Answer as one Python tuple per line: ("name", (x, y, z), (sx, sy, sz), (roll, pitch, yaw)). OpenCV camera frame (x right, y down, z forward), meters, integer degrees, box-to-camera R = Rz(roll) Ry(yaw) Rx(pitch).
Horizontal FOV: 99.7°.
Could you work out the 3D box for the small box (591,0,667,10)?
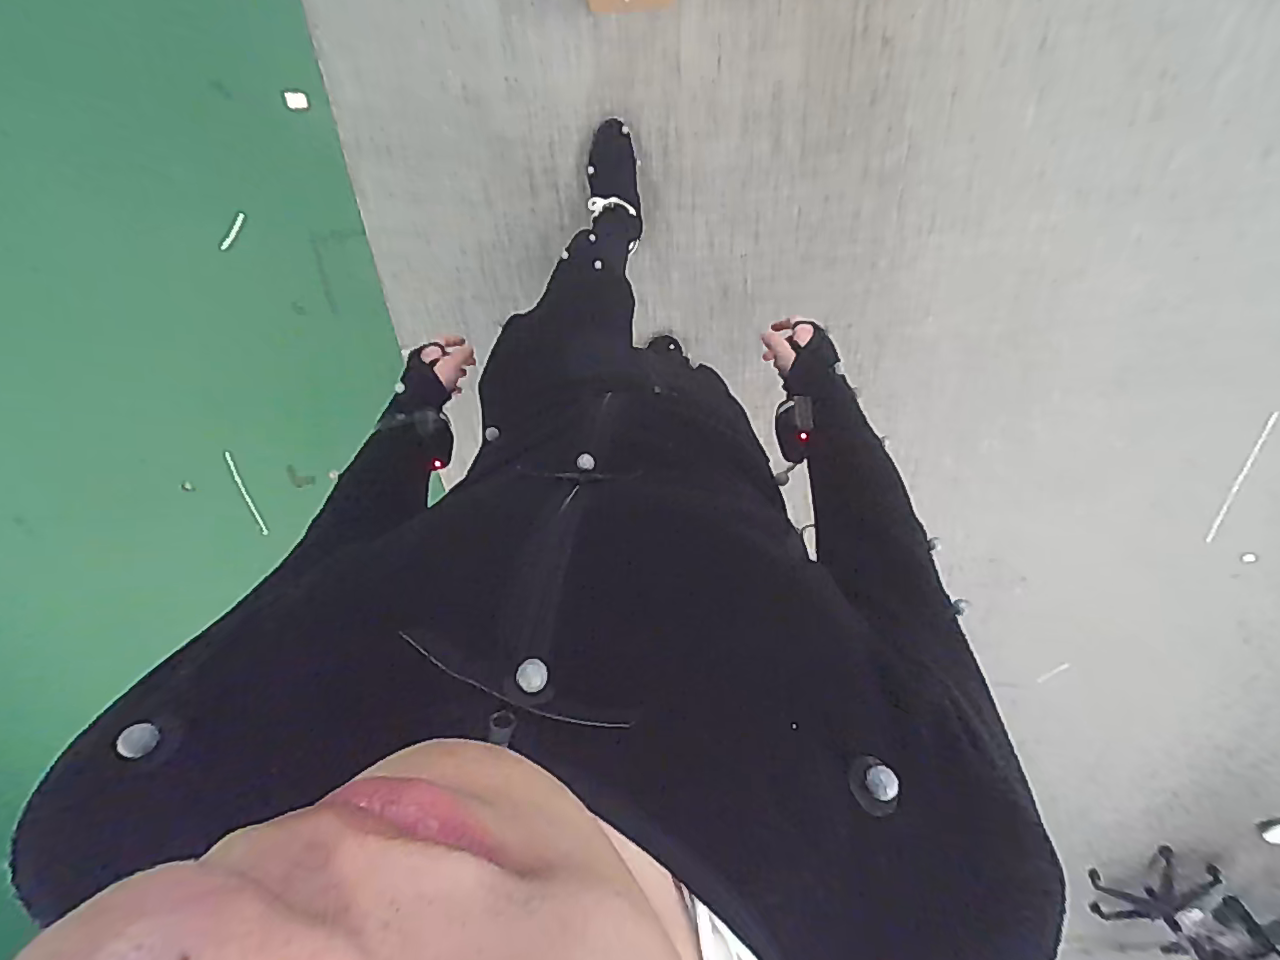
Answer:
("small box", (-0.022, -1.030, 1.032), (0.179, 0.176, 0.168), (-5, 120, 2))
